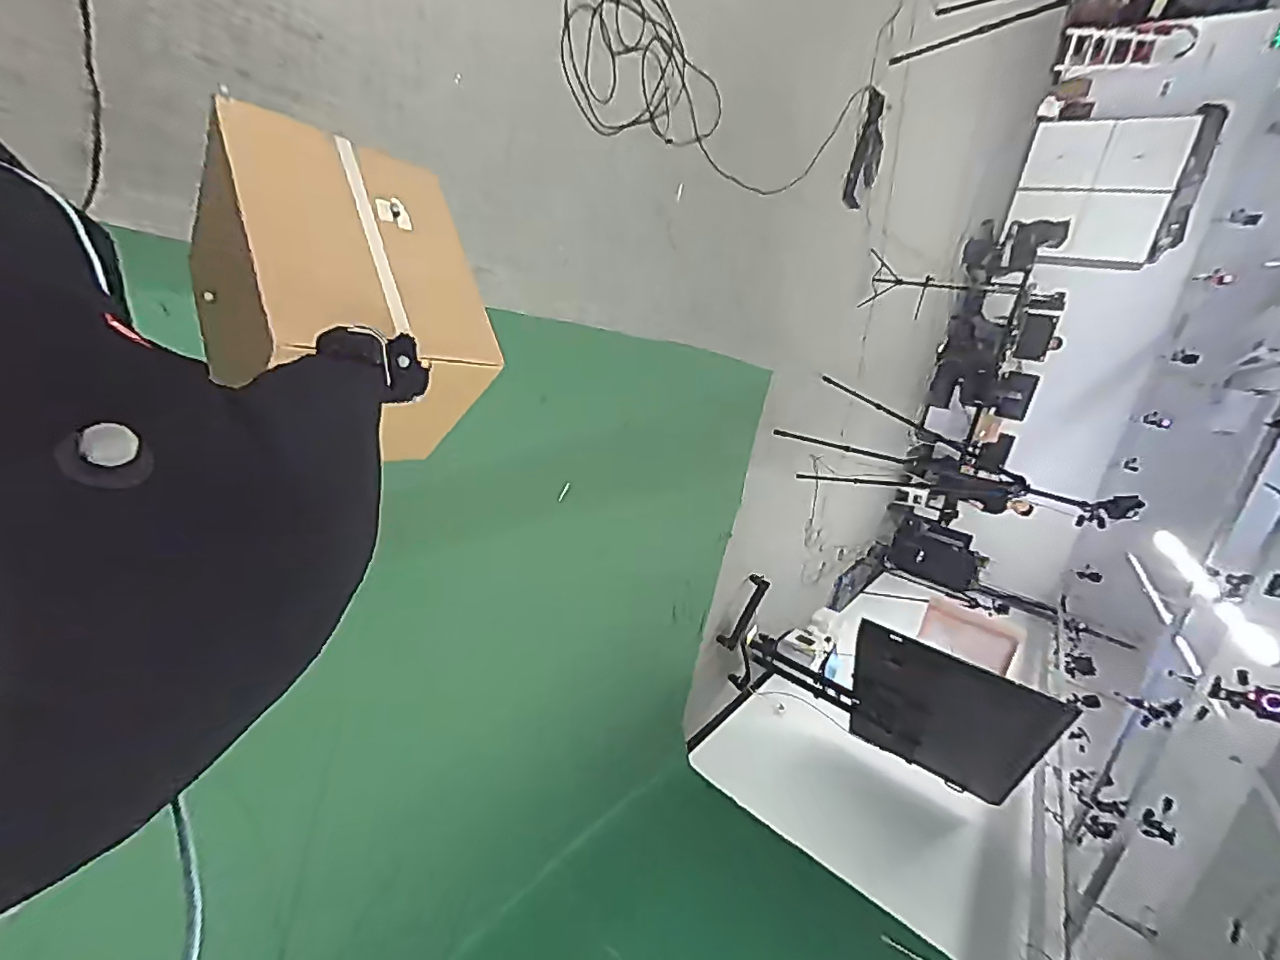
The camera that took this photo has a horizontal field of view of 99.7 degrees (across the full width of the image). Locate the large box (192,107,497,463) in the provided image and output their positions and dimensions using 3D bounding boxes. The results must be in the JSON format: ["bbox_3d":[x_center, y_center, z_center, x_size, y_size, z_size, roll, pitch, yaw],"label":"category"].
[{"bbox_3d":[-0.496,-0.278,0.890,0.320,0.320,0.408,-6,68,-48],"label":"large box"}]
